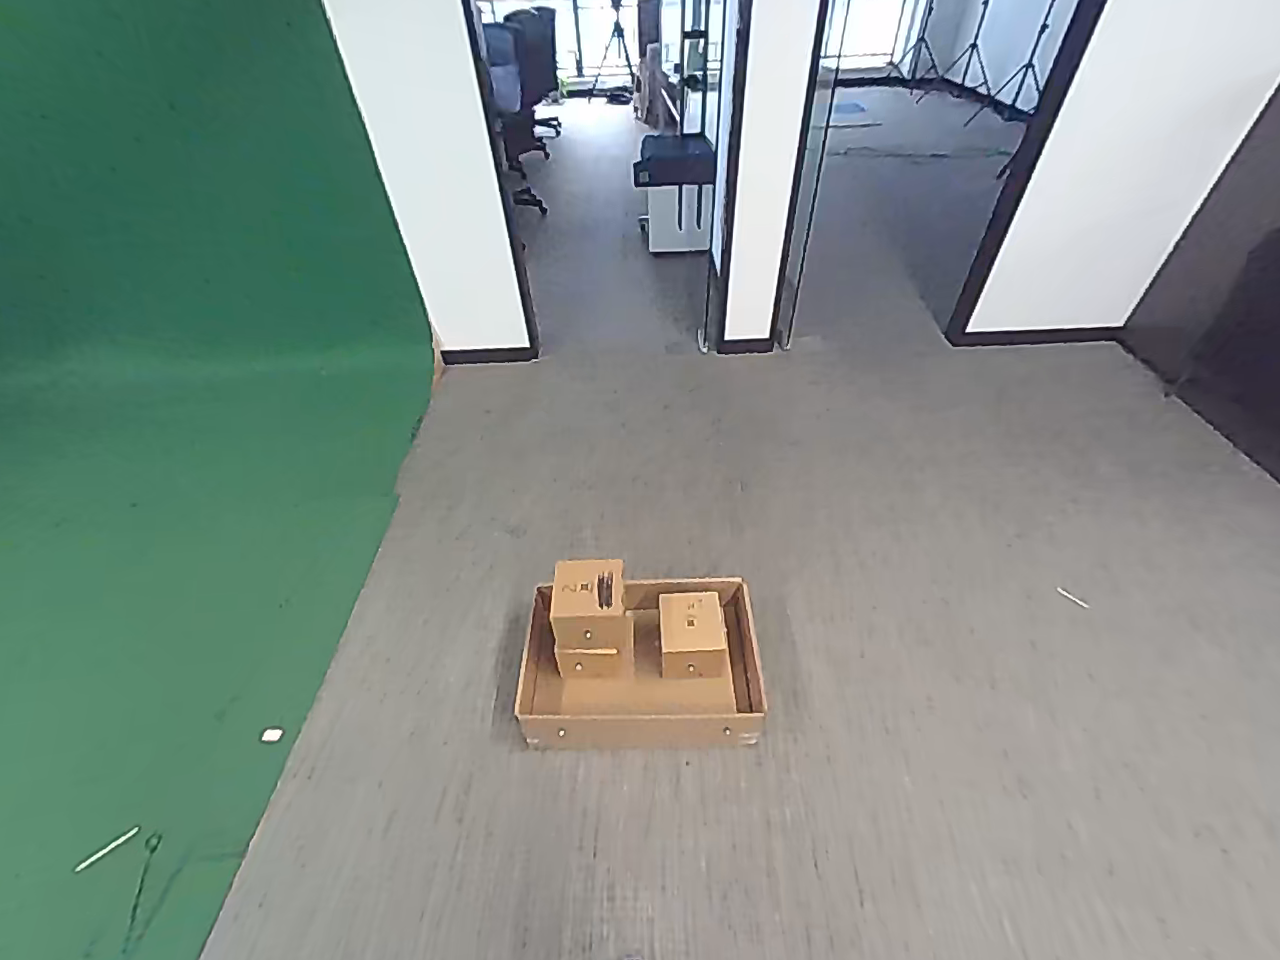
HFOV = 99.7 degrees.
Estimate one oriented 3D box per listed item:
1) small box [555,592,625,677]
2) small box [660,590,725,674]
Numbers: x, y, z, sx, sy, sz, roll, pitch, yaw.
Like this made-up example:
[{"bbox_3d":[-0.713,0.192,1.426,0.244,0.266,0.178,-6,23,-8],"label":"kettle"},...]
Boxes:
[{"bbox_3d":[-0.132,0.433,1.509,0.168,0.176,0.179,2,45,3],"label":"small box"},{"bbox_3d":[0.142,0.426,1.501,0.168,0.176,0.179,-1,46,1],"label":"small box"}]
